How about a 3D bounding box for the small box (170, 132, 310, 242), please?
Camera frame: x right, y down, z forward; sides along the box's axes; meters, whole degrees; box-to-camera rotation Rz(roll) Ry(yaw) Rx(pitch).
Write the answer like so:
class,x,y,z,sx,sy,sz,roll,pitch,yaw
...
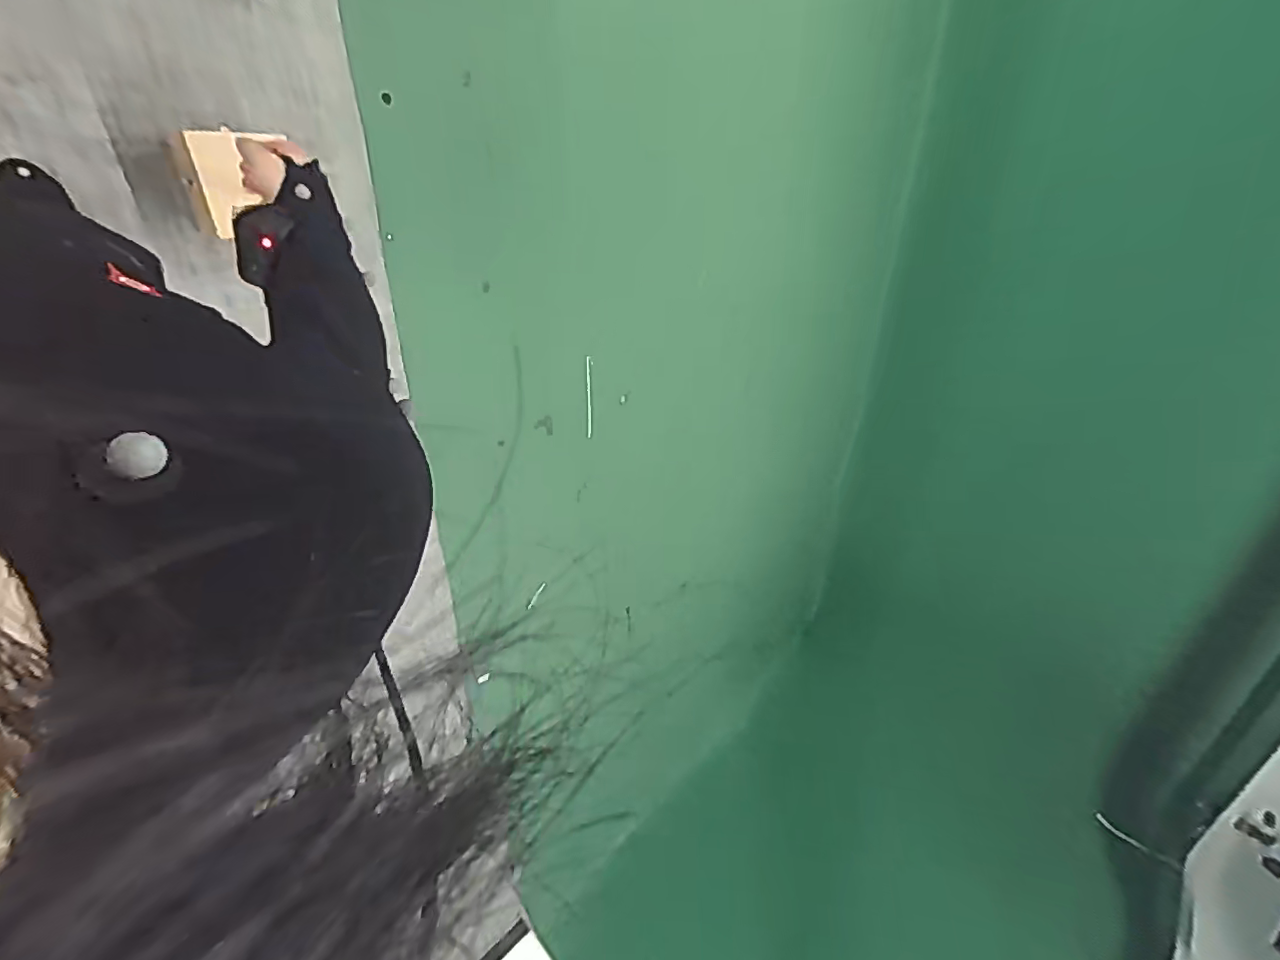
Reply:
class,x,y,z,sx,sy,sz,roll,pitch,yaw
small box,-0.787,-0.575,1.069,0.168,0.176,0.179,-25,126,-38
